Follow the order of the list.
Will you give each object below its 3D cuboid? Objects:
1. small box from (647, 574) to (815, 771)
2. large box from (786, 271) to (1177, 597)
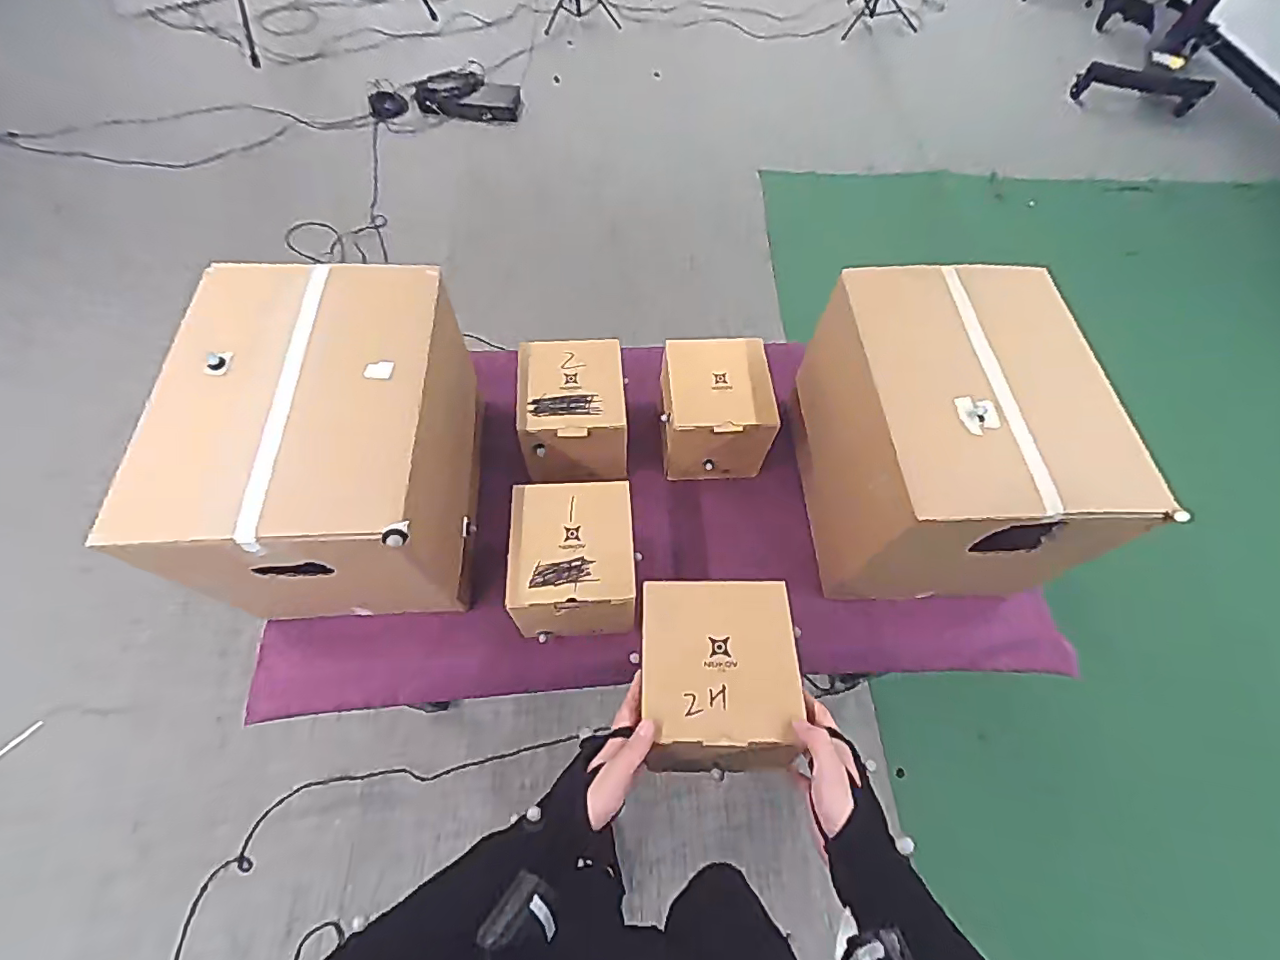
[{"bbox_3d":[0.093,0.228,0.637,0.168,0.176,0.179,0,53,2],"label":"small box"},{"bbox_3d":[0.446,-0.058,0.830,0.320,0.320,0.408,-1,63,-3],"label":"large box"}]
